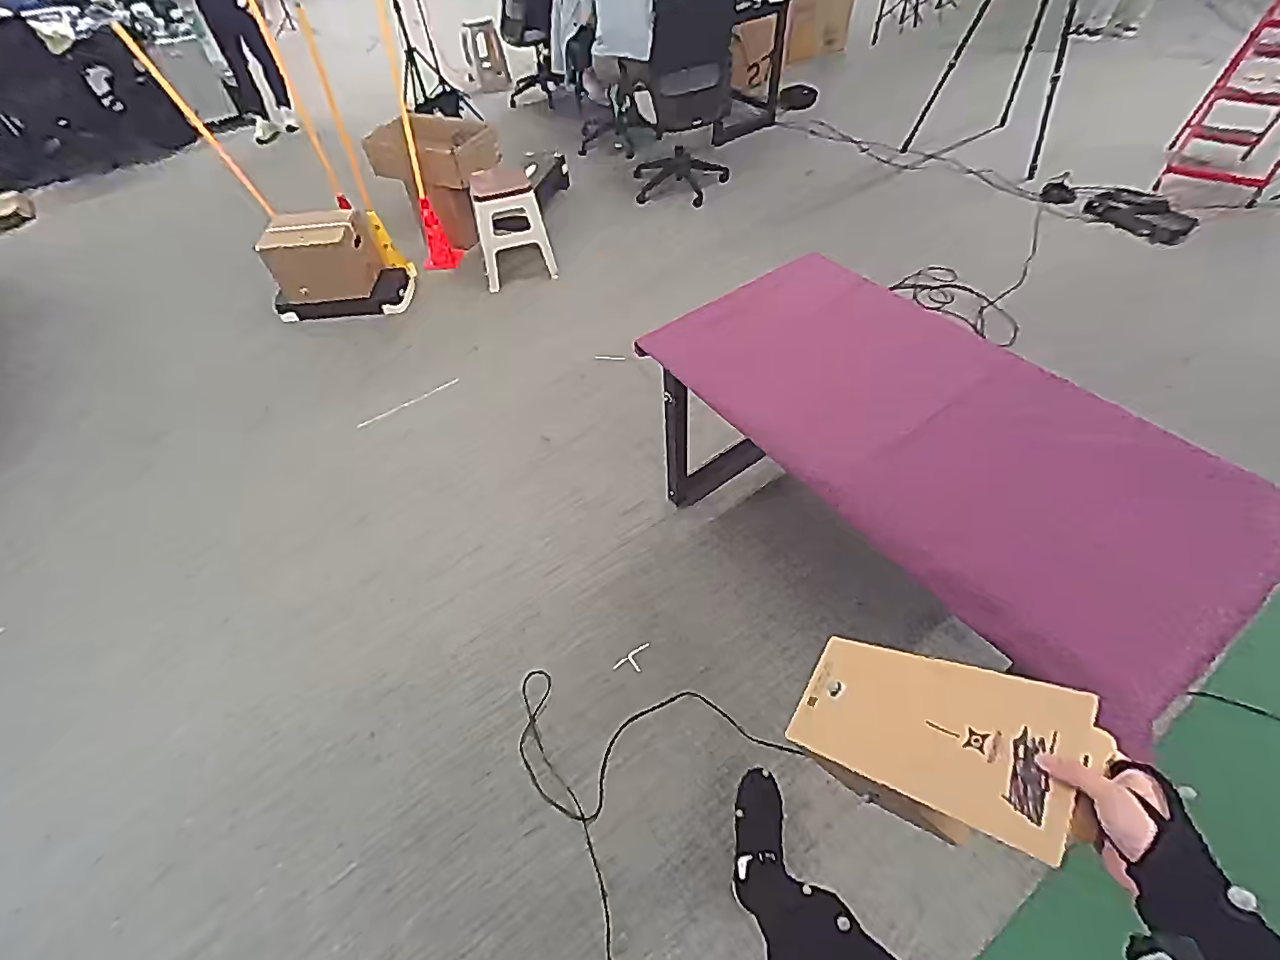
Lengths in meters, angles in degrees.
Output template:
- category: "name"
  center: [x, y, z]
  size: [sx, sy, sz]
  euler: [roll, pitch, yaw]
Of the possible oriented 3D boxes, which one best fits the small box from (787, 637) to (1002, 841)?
- category: "small box"
  center: [0.339, 0.335, 0.734]
  size: [0.179, 0.176, 0.168]
  euler: [42, 68, -17]
